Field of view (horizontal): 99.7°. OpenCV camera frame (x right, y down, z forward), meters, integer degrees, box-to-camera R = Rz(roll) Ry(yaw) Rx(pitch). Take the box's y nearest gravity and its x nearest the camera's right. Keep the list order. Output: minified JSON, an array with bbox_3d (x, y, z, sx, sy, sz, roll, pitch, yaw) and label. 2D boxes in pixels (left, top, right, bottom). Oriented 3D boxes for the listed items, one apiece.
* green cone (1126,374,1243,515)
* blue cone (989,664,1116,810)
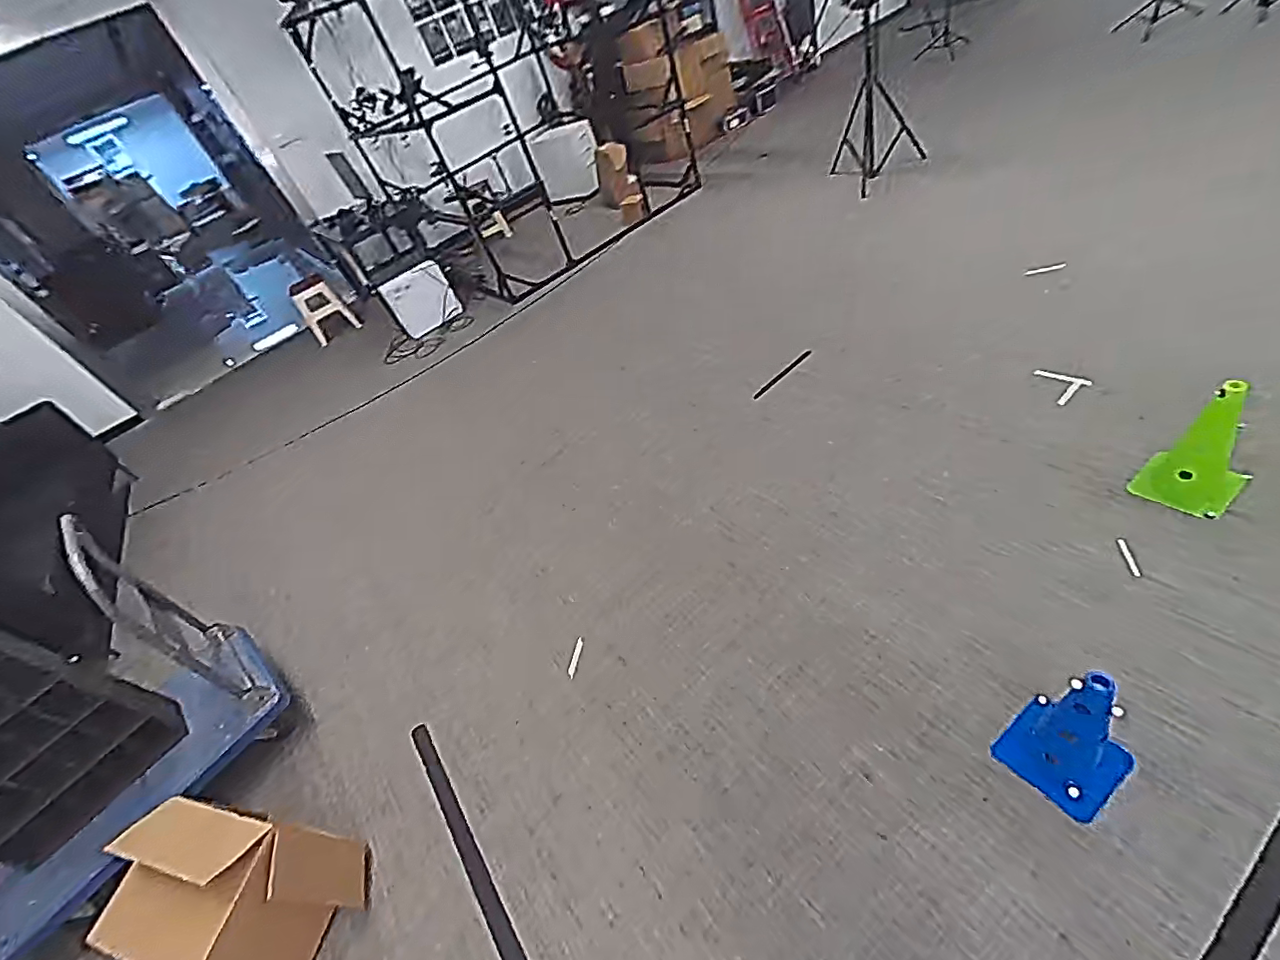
[{"bbox_3d":[1.472,-0.118,1.411,0.200,0.368,0.202,-39,42,-16],"label":"green cone"},{"bbox_3d":[0.857,0.483,1.087,0.193,0.380,0.192,-36,41,-14],"label":"blue cone"}]
